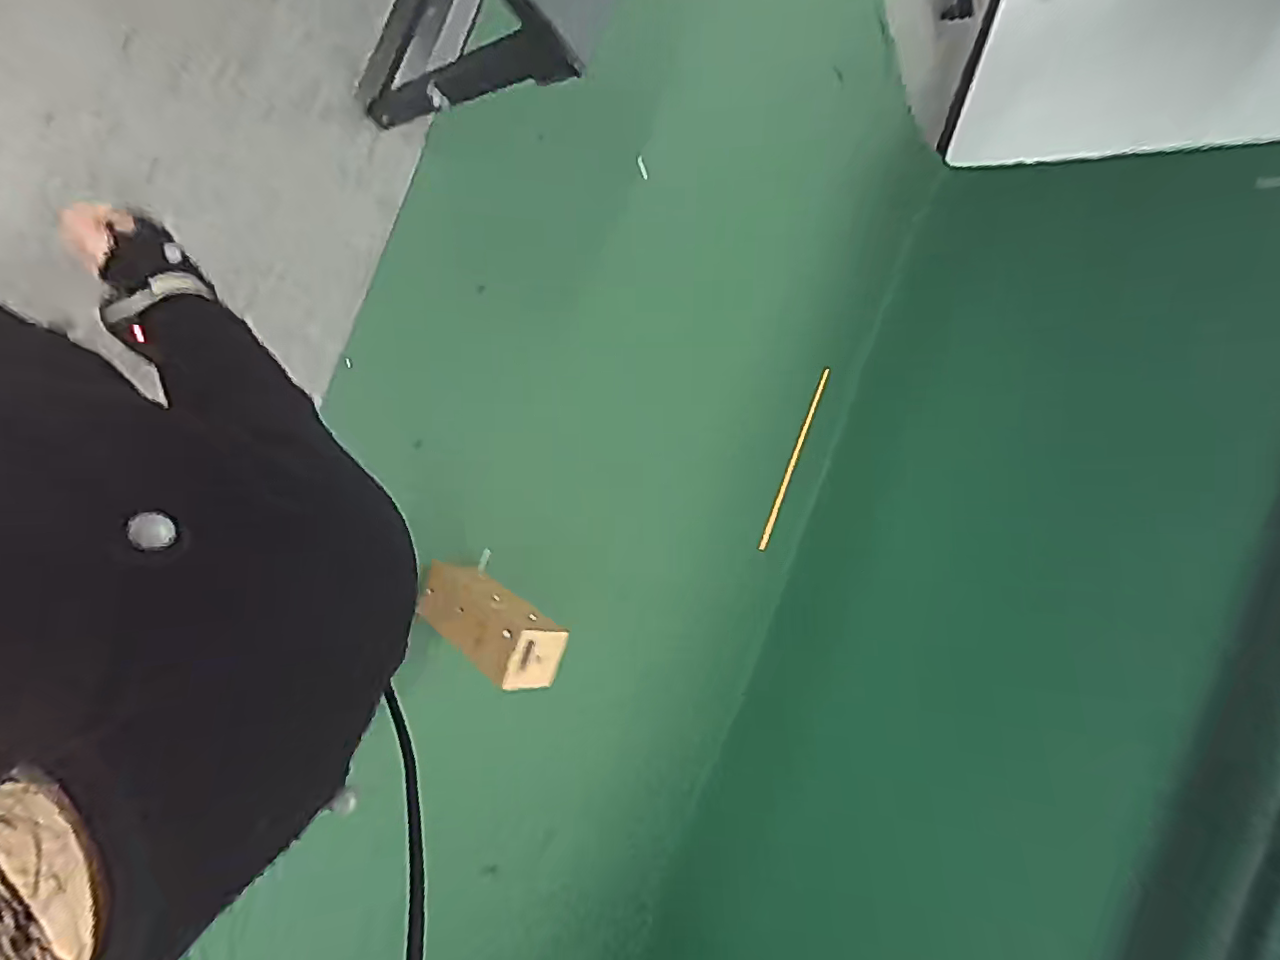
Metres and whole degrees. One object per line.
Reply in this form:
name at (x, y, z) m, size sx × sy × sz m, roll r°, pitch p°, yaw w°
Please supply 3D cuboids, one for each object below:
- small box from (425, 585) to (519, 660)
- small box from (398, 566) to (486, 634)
small box at (-0.505, 0.425, 1.622) m, size 0.179 × 0.176 × 0.168 m, roll 23°, pitch 87°, yaw -53°
small box at (-0.628, 0.382, 1.719) m, size 0.179 × 0.176 × 0.168 m, roll 25°, pitch 84°, yaw -53°
